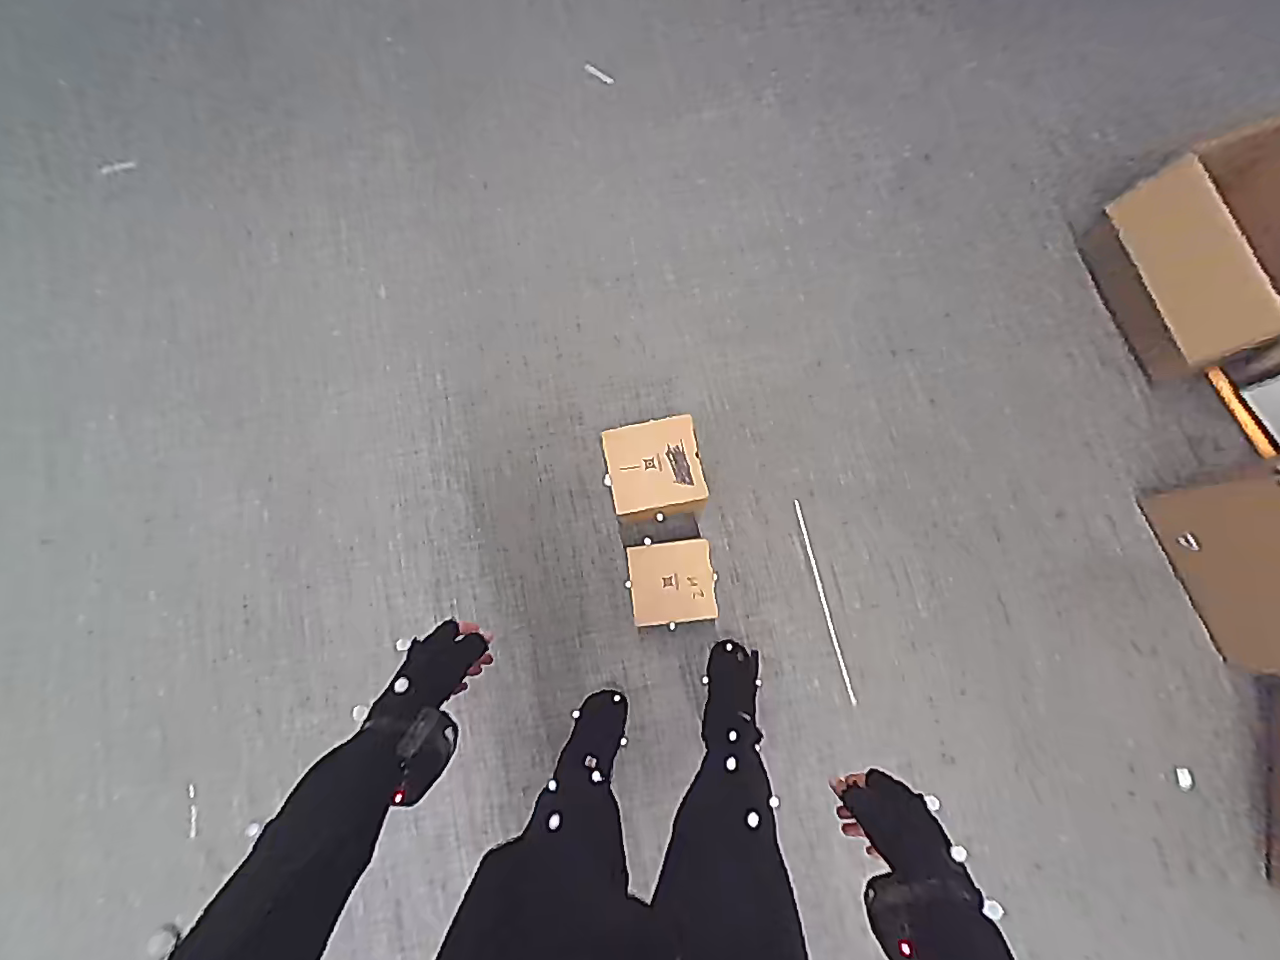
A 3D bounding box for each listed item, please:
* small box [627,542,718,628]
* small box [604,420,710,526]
[{"bbox_3d":[0.071,0.233,1.194,0.179,0.176,0.168,-7,79,2],"label":"small box"},{"bbox_3d":[0.033,-0.007,1.078,0.179,0.176,0.168,-11,79,1],"label":"small box"}]
